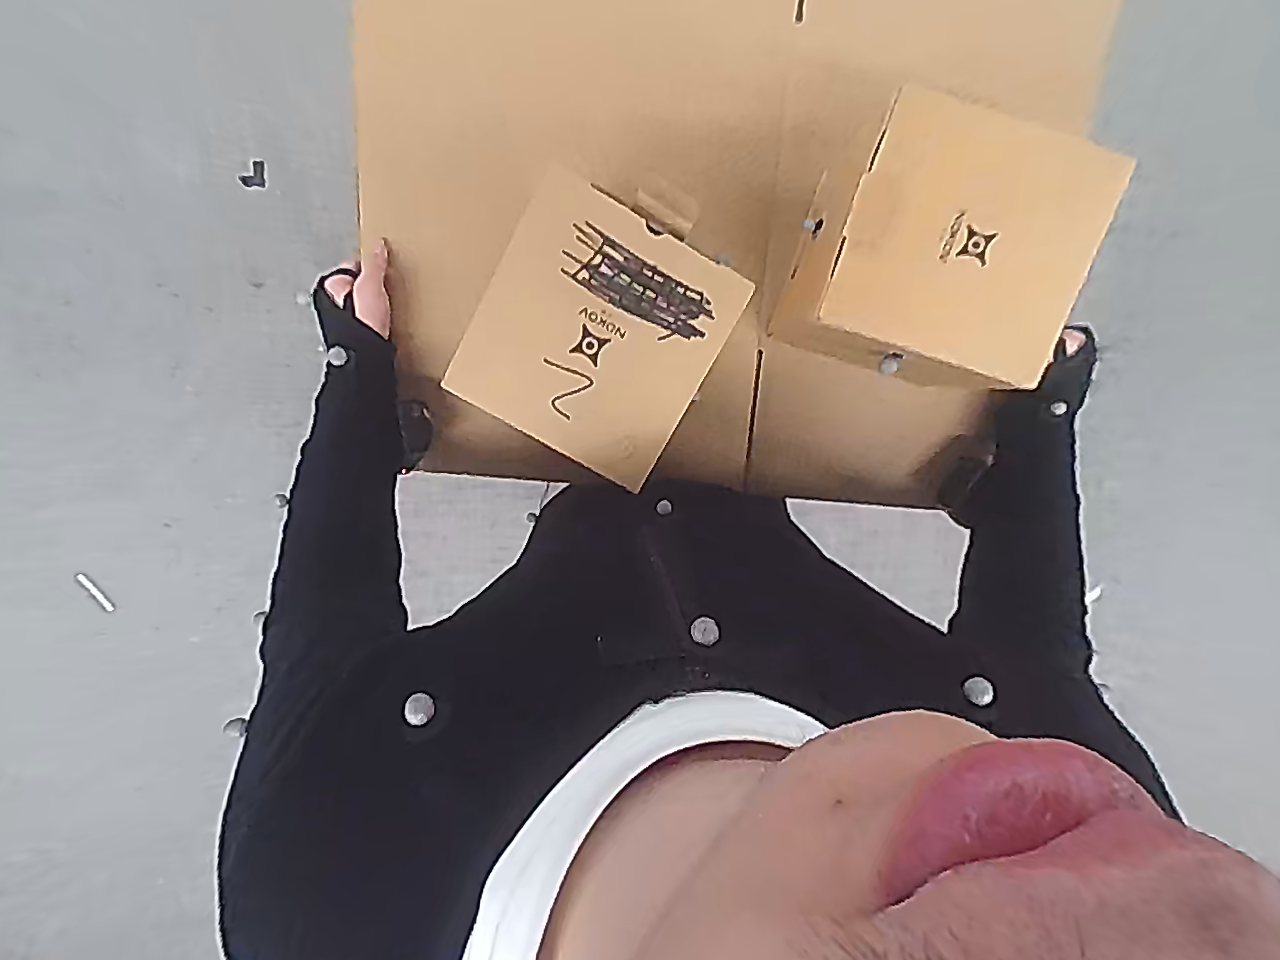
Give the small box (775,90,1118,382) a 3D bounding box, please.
[{"bbox_3d":[0.241,-0.193,0.479,0.179,0.176,0.168,17,101,-1],"label":"small box"}]
